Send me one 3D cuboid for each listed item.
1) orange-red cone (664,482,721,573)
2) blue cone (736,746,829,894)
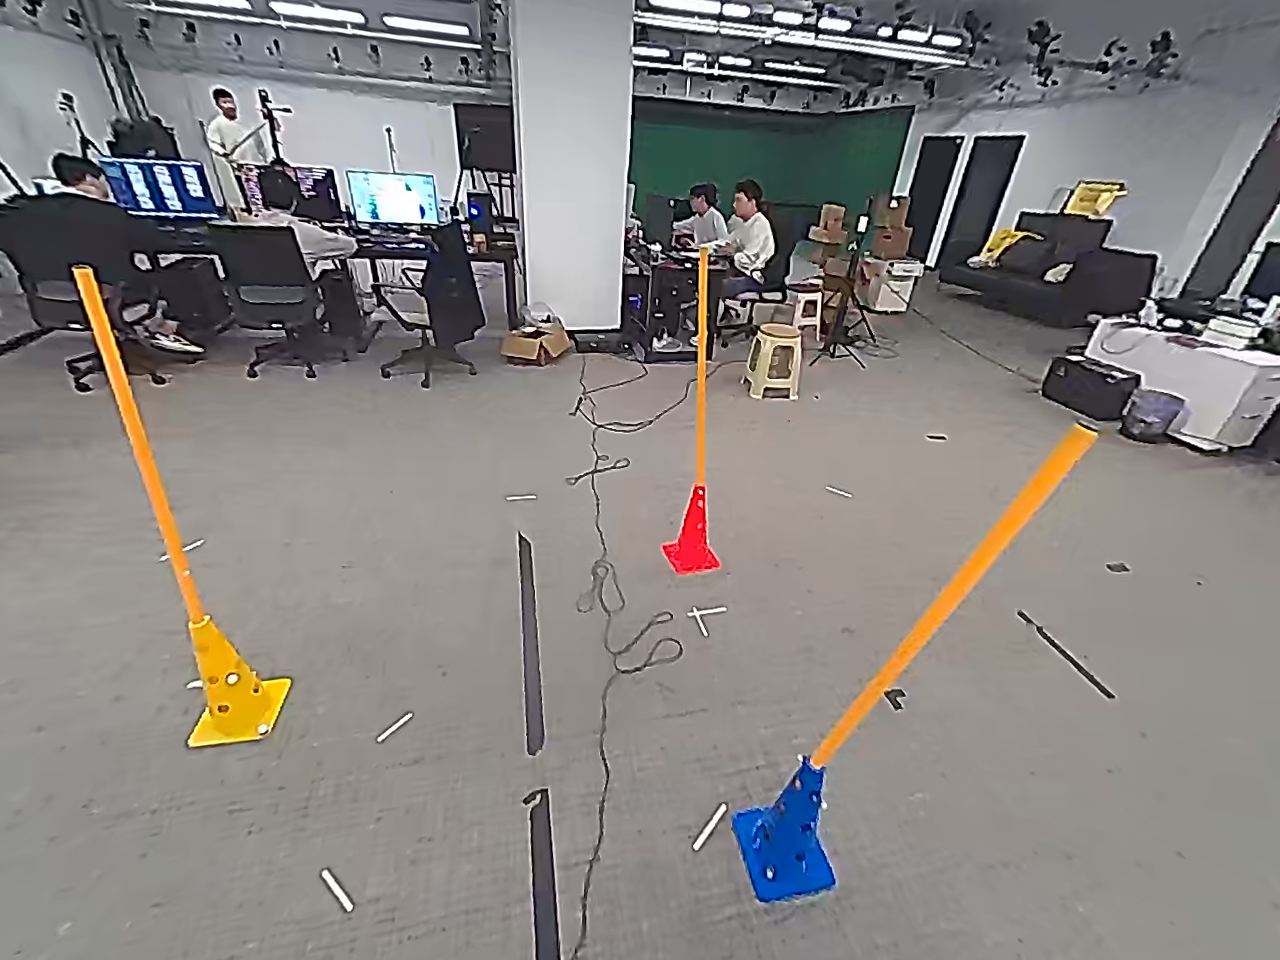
[{"bbox_3d":[0.225,0.171,2.172,0.199,0.360,0.198,-8,32,-16],"label":"orange-red cone"},{"bbox_3d":[0.354,0.747,1.231,0.193,0.380,0.192,-2,30,-10],"label":"blue cone"}]
